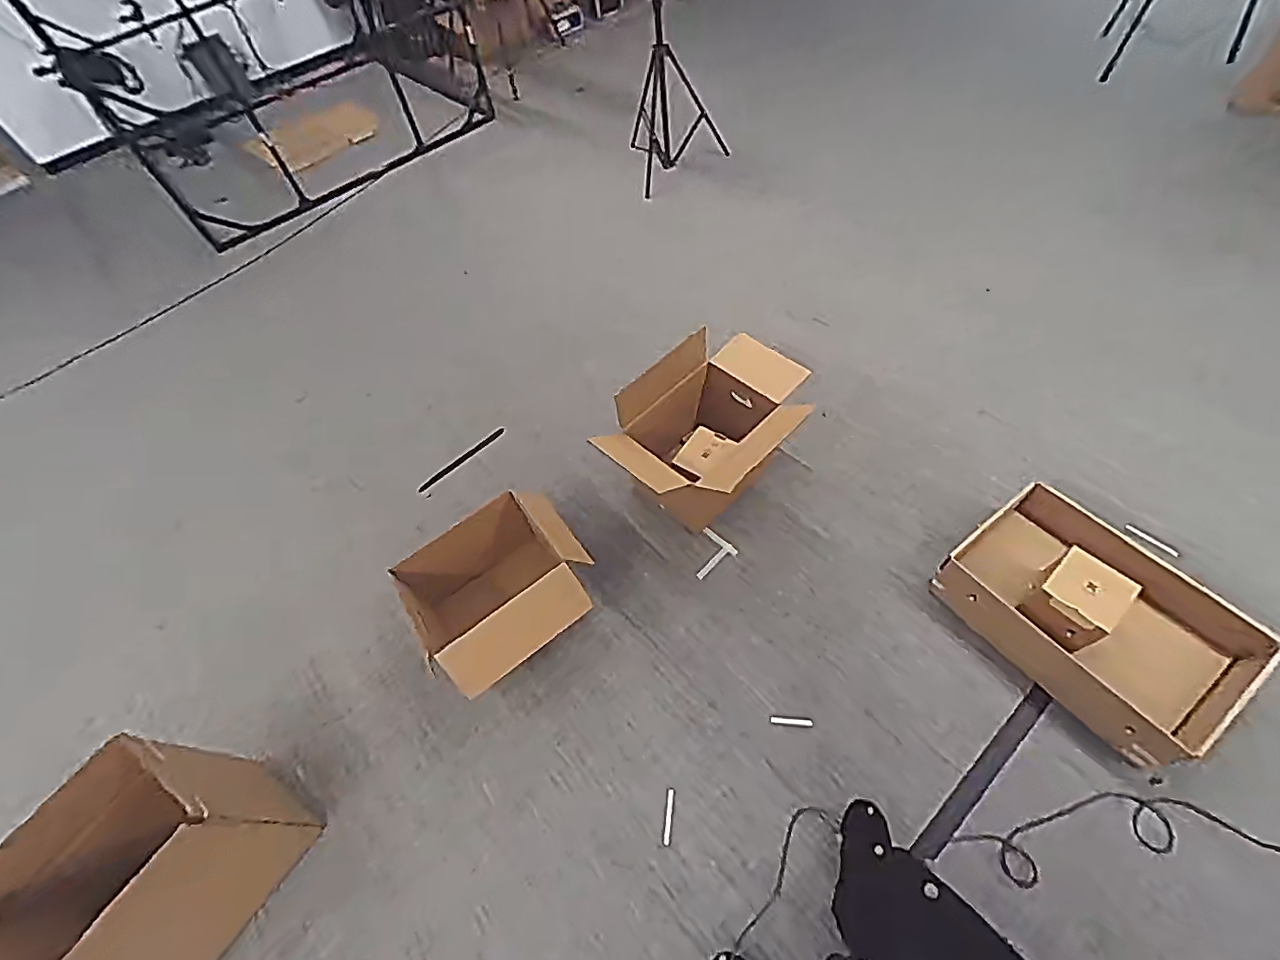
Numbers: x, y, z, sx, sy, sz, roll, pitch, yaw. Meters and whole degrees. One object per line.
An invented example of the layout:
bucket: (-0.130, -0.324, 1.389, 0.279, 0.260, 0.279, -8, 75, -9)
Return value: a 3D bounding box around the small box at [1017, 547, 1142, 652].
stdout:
small box: (1.126, 0.315, 1.404, 0.179, 0.176, 0.168, -39, 61, -18)
